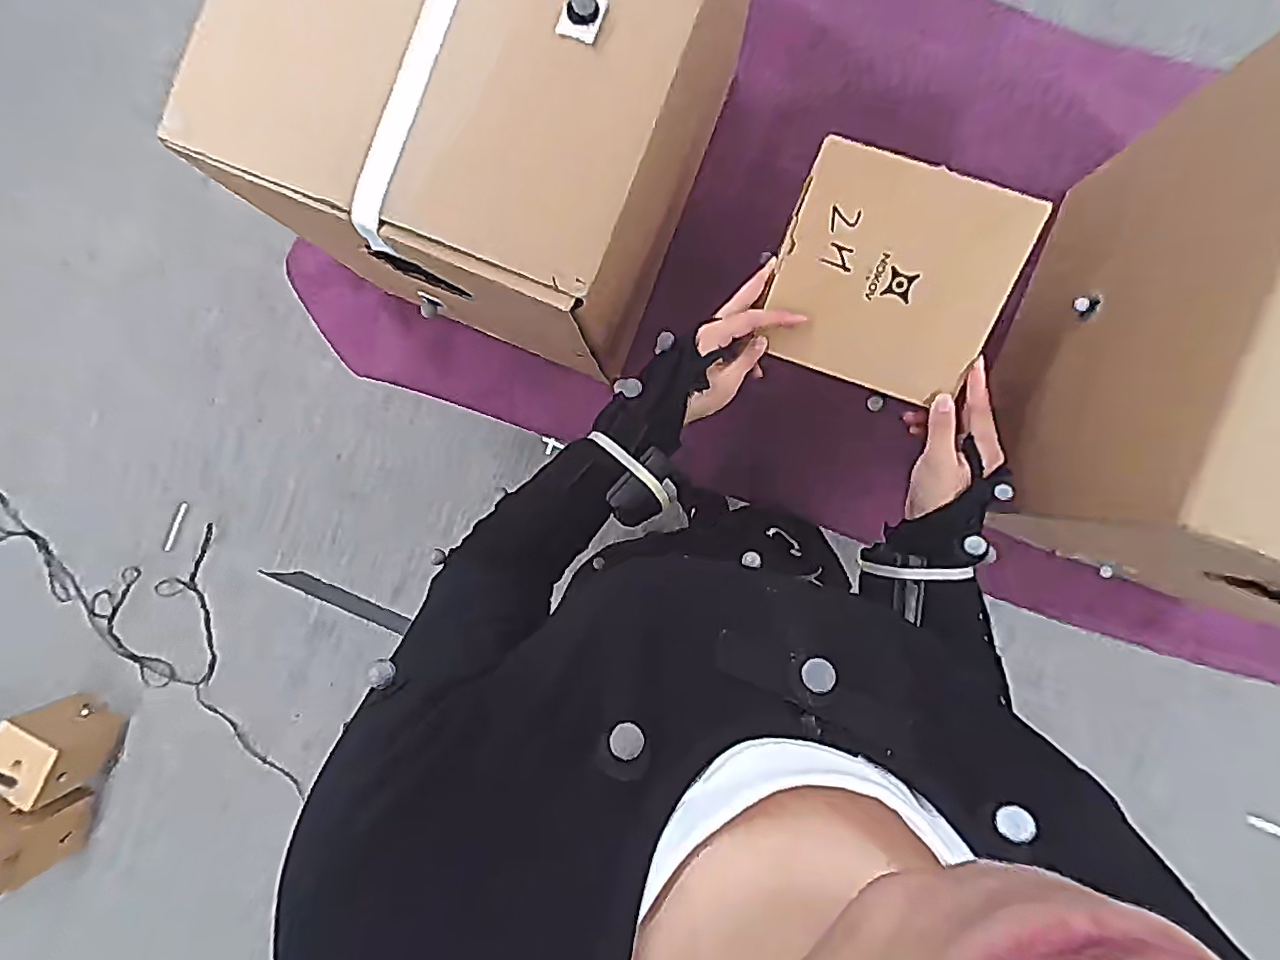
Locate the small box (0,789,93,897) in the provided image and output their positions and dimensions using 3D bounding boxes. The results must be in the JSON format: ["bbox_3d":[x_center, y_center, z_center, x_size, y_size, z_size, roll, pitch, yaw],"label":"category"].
[{"bbox_3d":[-1.597,0.914,1.398,0.179,0.176,0.168,15,91,3],"label":"small box"}]

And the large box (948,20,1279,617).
[{"bbox_3d":[0.550,-0.103,0.470,0.320,0.320,0.408,21,90,3],"label":"large box"}]

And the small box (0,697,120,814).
[{"bbox_3d":[-1.510,0.697,1.388,0.168,0.176,0.179,28,92,3],"label":"small box"}]
